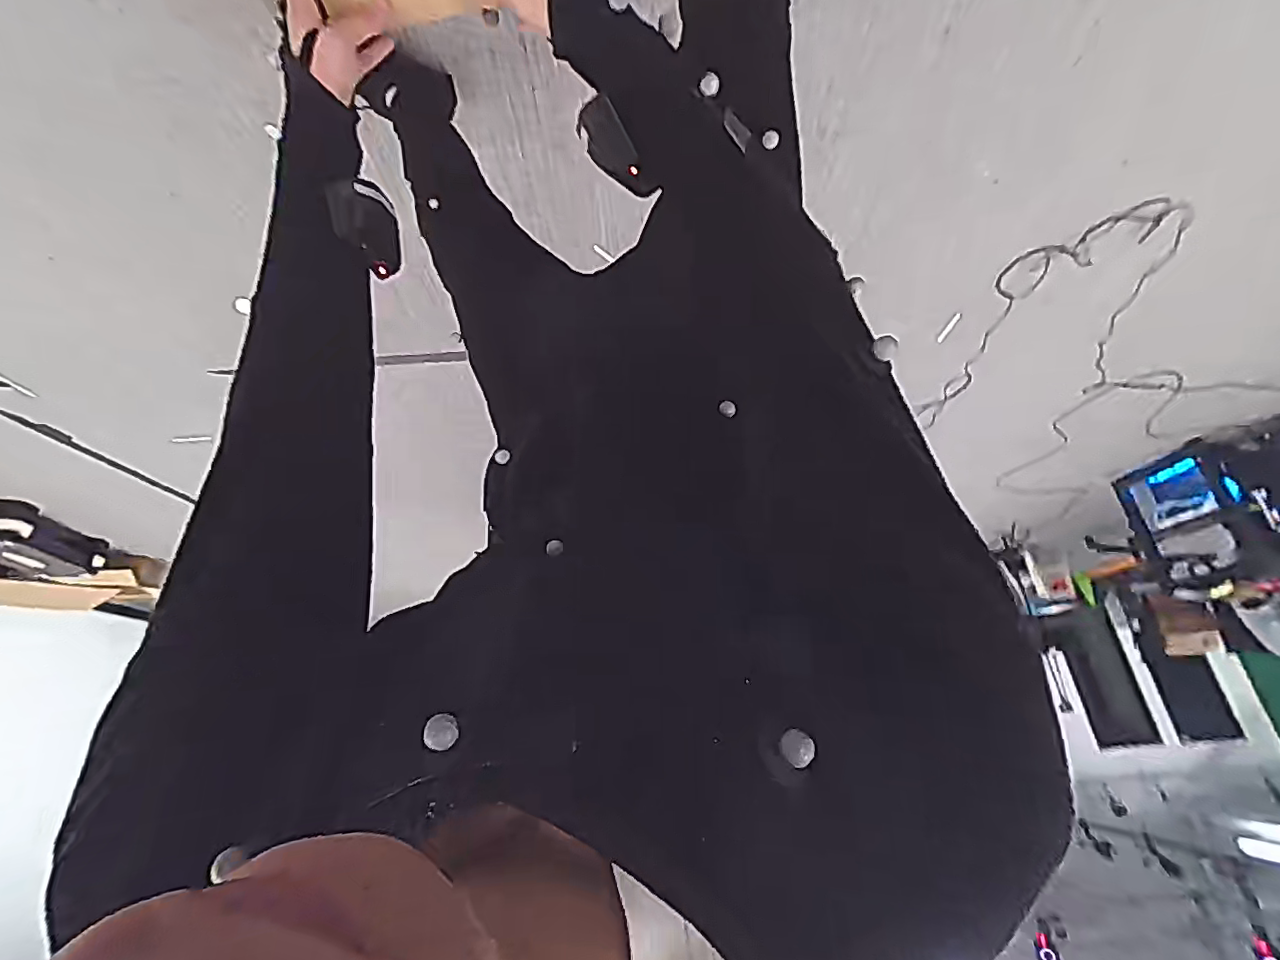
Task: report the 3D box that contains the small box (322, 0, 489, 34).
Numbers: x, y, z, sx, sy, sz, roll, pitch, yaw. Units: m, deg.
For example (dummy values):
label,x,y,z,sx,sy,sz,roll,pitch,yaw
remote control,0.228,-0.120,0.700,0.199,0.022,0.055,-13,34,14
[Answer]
label,x,y,z,sx,sy,sz,roll,pitch,yaw
small box,-0.195,-0.511,0.451,0.179,0.176,0.168,-9,139,6
